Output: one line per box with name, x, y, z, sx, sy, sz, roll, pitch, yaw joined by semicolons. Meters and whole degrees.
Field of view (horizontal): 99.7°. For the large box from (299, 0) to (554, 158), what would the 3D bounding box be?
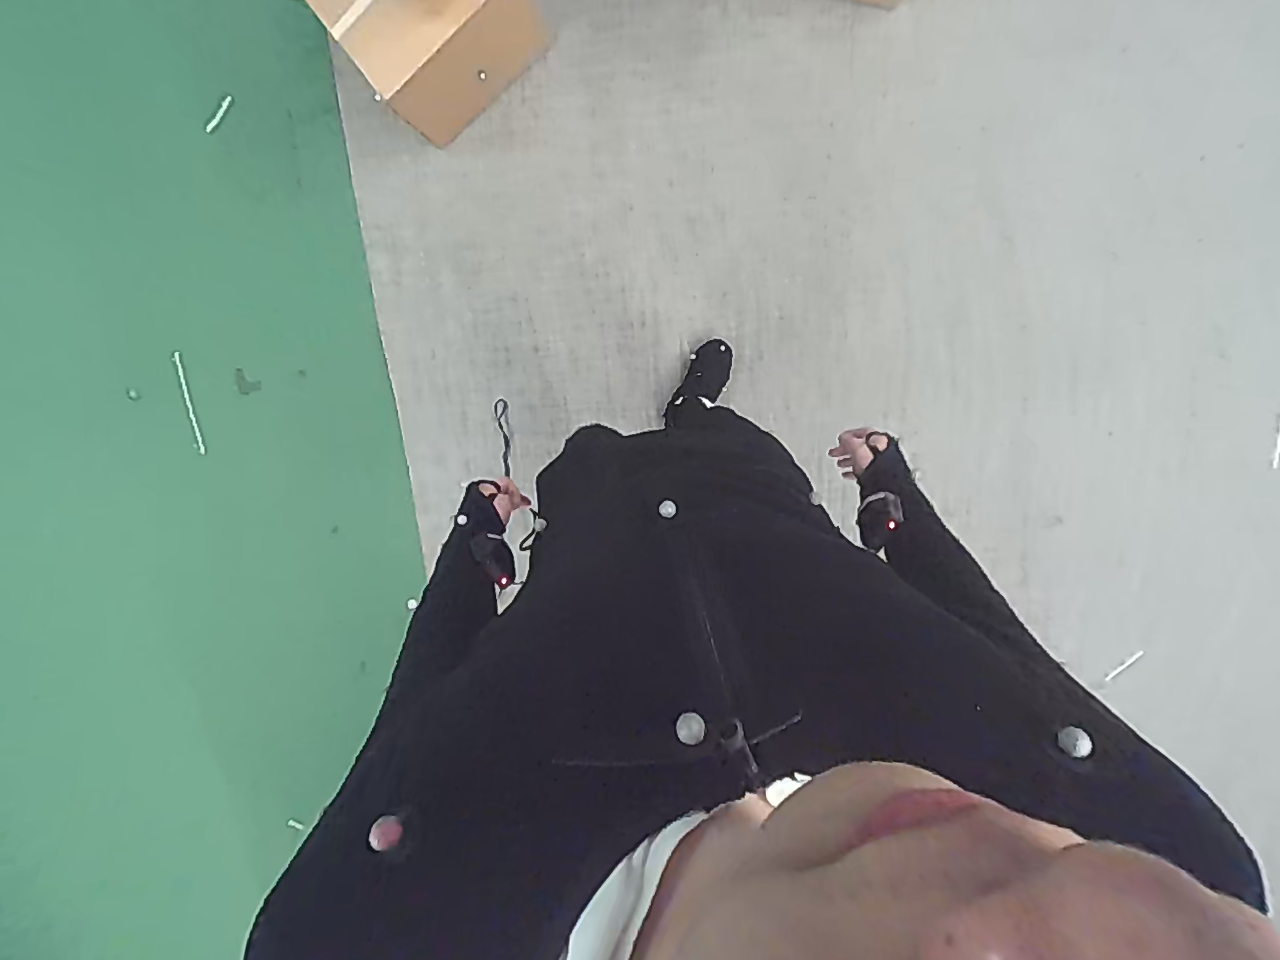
large box;-0.471;-1.061;1.257;0.408;0.320;0.320;-36;98;11
